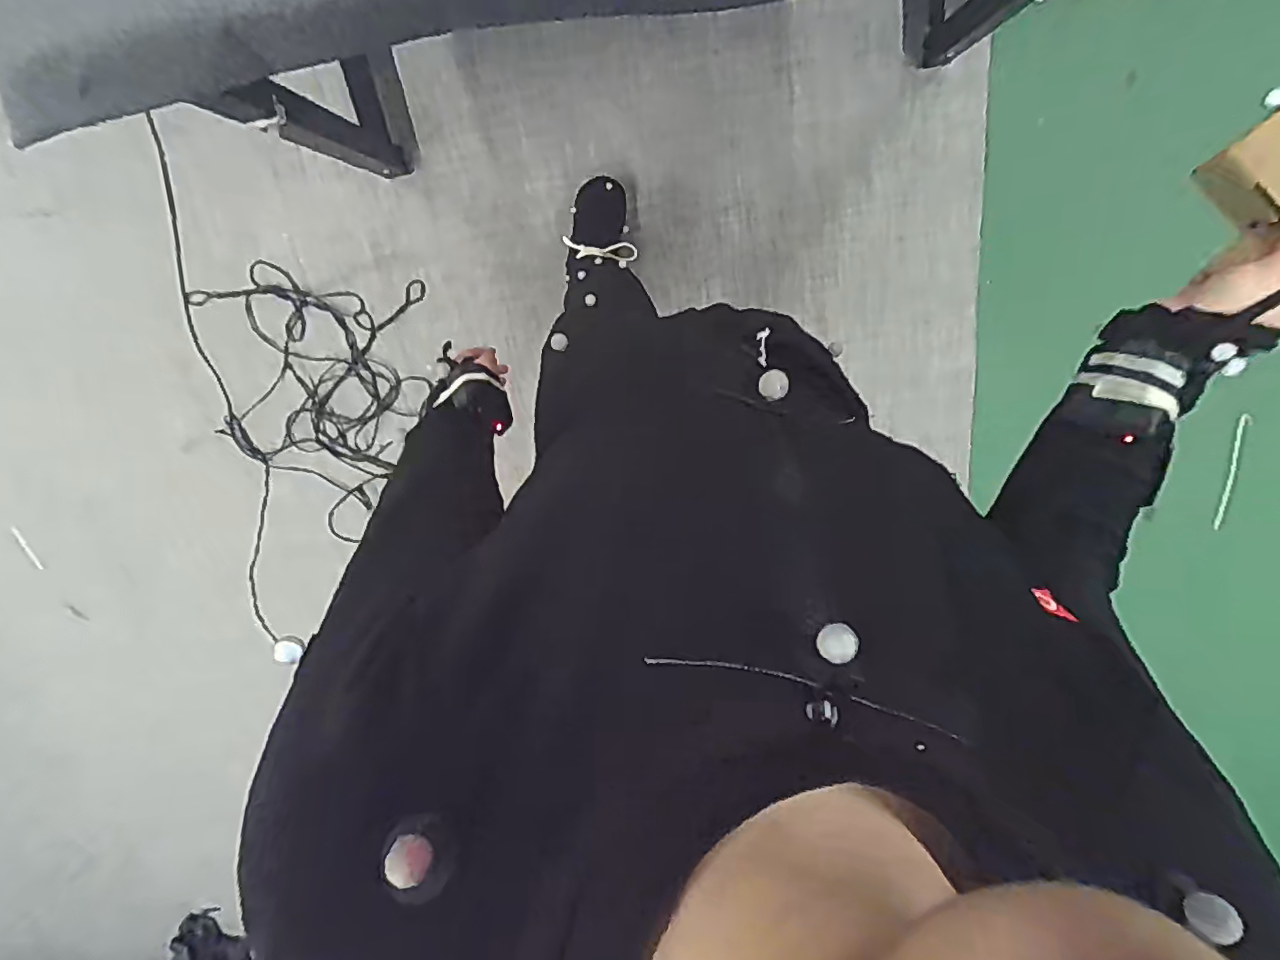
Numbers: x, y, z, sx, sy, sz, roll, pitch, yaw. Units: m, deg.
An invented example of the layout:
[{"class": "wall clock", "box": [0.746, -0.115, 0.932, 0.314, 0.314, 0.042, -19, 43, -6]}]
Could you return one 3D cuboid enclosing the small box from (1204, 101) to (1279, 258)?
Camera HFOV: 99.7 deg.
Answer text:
[{"class": "small box", "box": [0.552, -0.238, 0.368, 0.168, 0.176, 0.179, 53, 134, 7]}]
